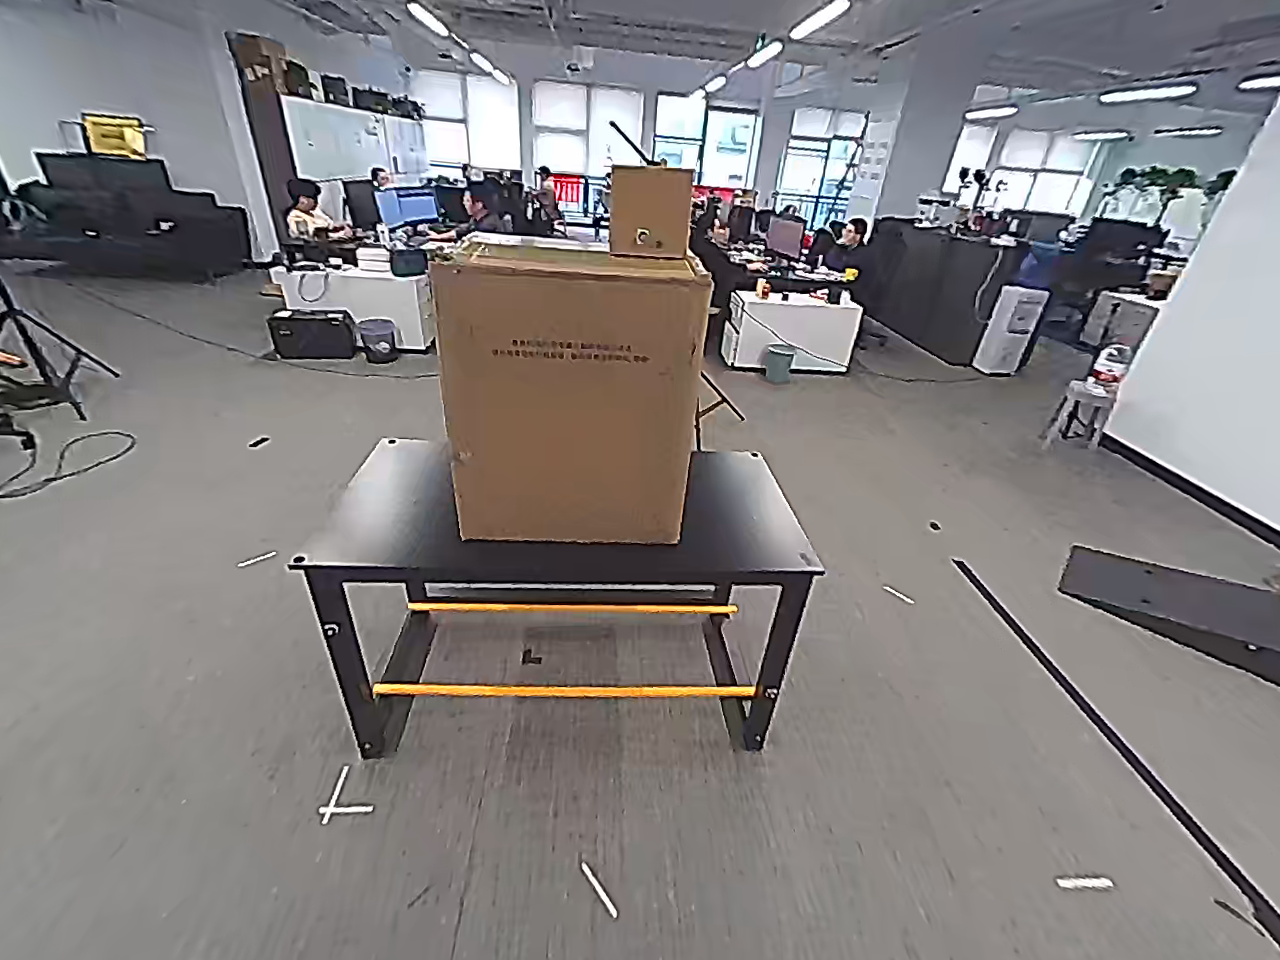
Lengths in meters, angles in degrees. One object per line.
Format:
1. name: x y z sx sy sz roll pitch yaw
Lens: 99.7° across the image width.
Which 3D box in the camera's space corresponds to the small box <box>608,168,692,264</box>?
1. small box: 0.016 -0.570 1.164 0.168 0.176 0.179 0 30 -2
